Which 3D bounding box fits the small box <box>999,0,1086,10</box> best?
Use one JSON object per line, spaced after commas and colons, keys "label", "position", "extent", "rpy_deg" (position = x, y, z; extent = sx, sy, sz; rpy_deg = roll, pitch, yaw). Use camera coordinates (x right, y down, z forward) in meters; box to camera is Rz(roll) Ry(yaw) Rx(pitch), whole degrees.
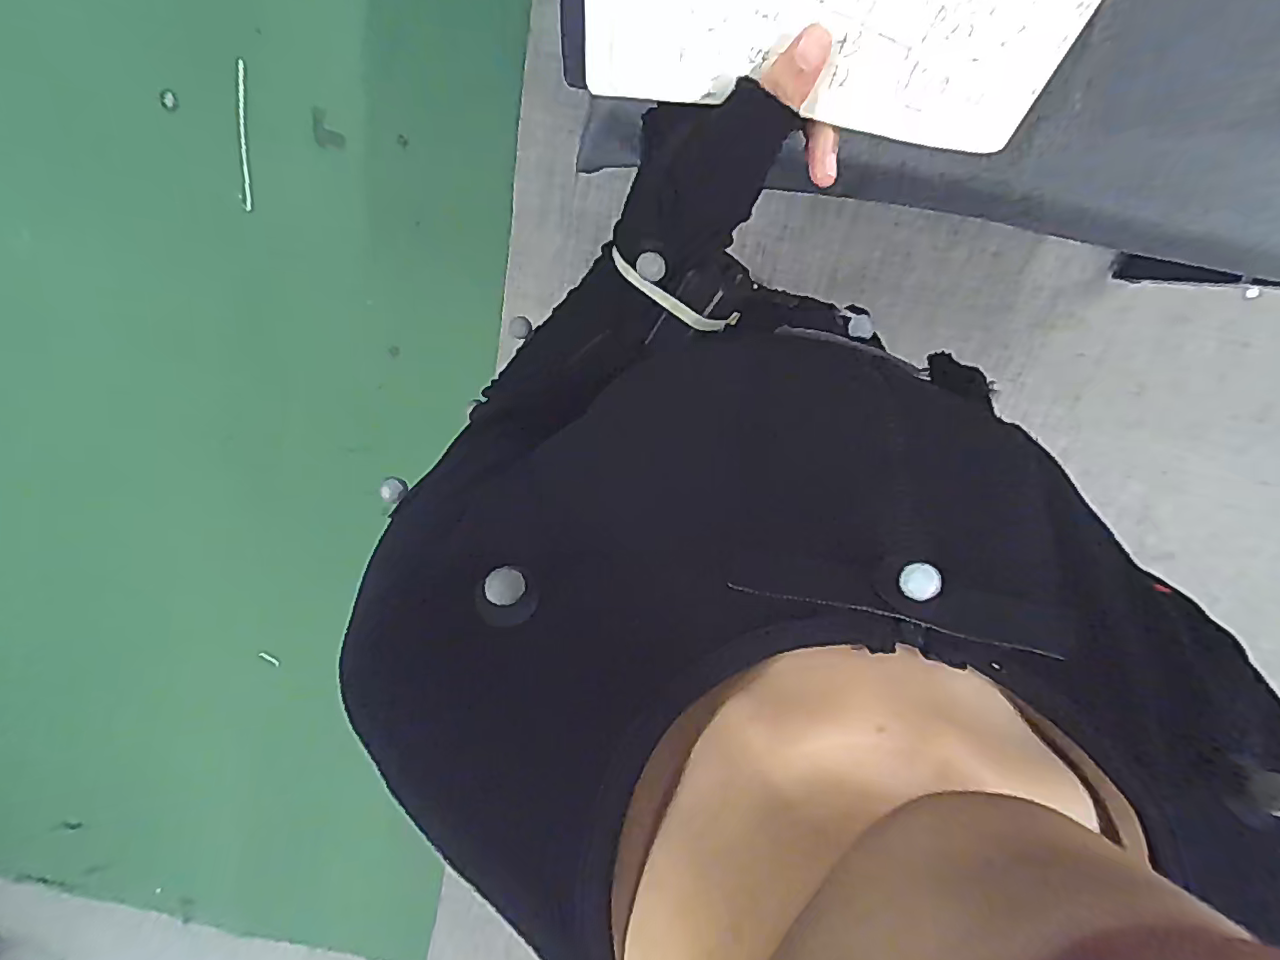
{"label": "small box", "position": [0.363, -0.529, 0.432], "extent": [0.168, 0.176, 0.179], "rpy_deg": [7, 112, 2]}
